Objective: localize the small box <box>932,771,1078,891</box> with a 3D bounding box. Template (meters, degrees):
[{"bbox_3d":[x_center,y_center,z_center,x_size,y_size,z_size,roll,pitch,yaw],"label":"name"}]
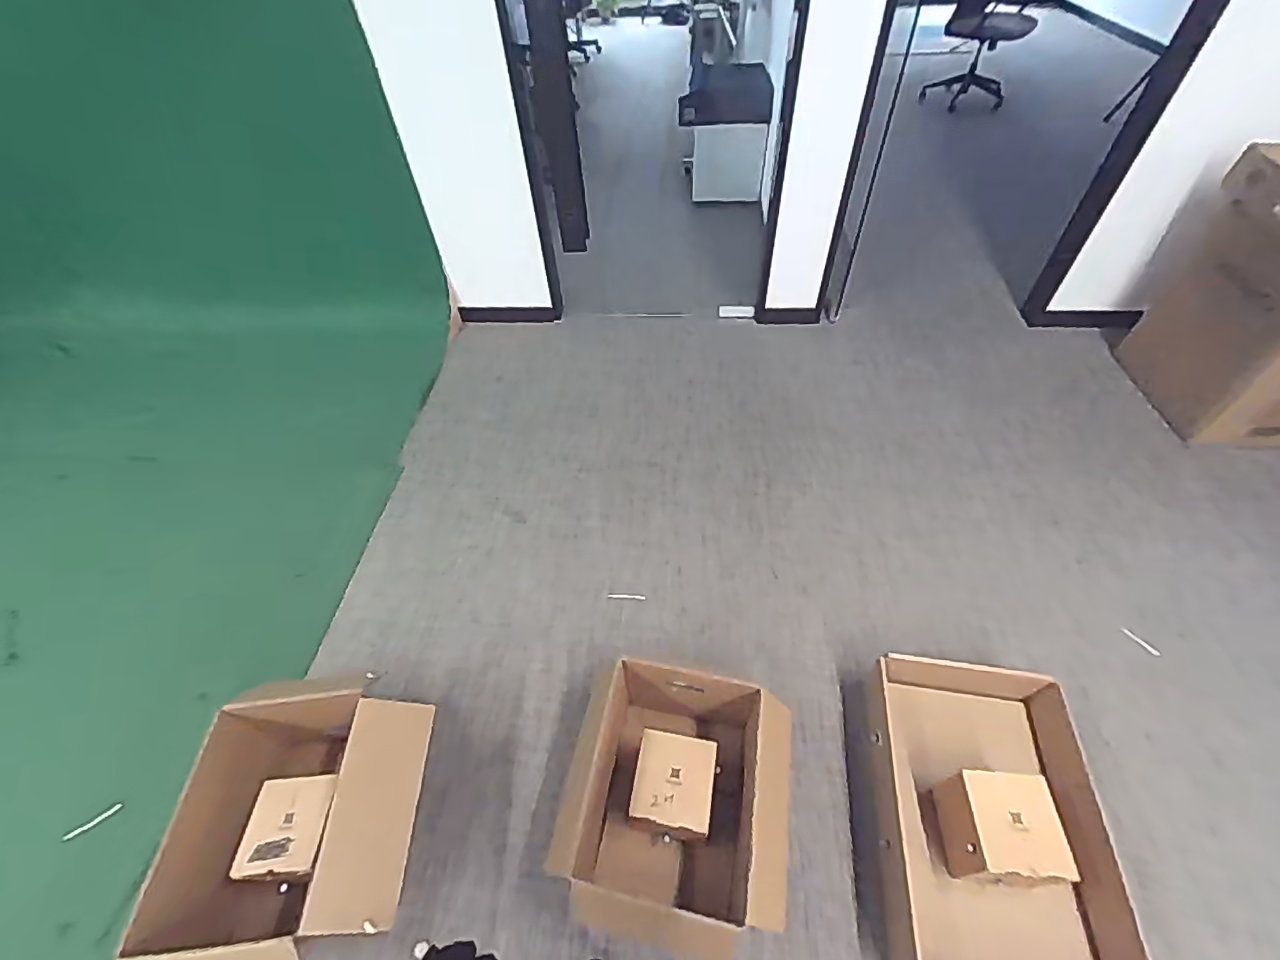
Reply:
[{"bbox_3d":[0.729,0.719,1.107,0.168,0.176,0.179,3,50,4],"label":"small box"}]
